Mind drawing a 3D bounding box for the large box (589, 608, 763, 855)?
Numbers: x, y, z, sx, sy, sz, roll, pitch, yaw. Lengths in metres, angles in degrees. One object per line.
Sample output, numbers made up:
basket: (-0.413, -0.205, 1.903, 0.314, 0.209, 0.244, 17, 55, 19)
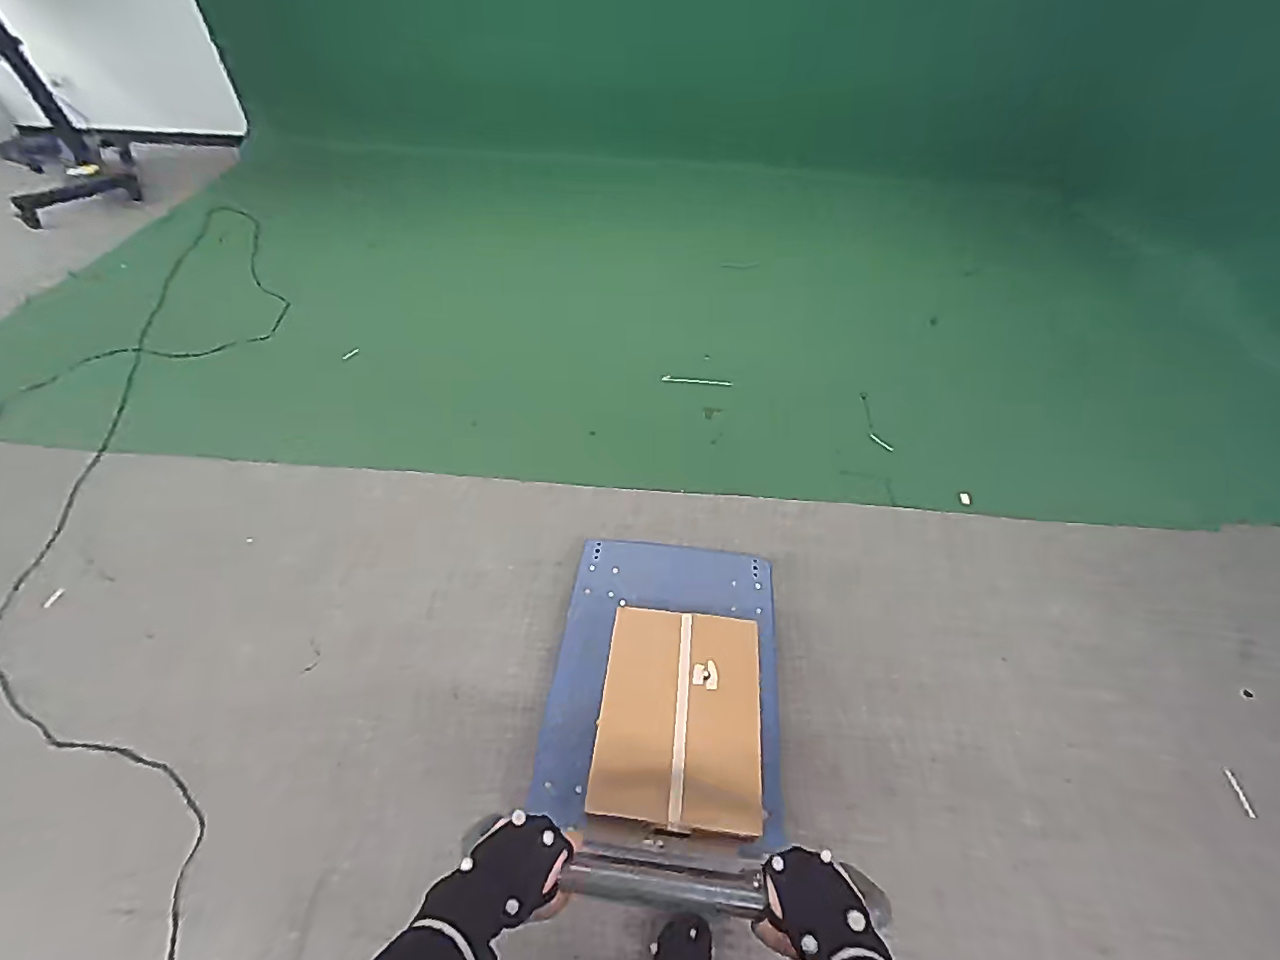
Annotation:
large box: (0.076, 0.546, 1.181, 0.320, 0.320, 0.408, 6, 49, 3)
